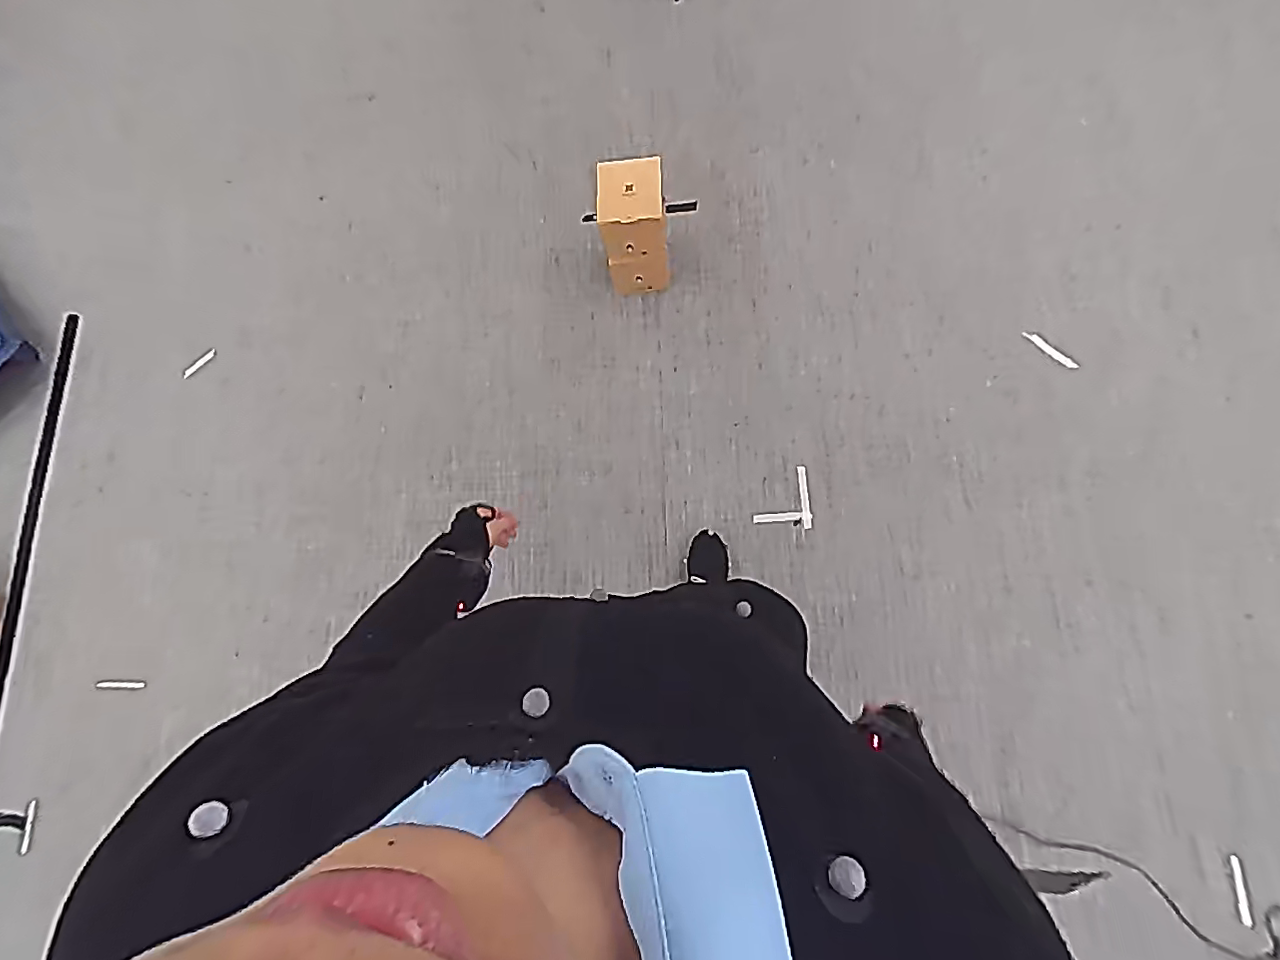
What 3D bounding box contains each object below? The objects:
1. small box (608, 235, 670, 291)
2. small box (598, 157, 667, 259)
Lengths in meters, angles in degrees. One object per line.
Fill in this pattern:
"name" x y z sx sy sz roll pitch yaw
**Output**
"small box" -0.002 -0.675 1.591 0.168 0.176 0.179 -4 78 5
"small box" -0.017 -0.715 1.433 0.168 0.176 0.179 -2 80 6
